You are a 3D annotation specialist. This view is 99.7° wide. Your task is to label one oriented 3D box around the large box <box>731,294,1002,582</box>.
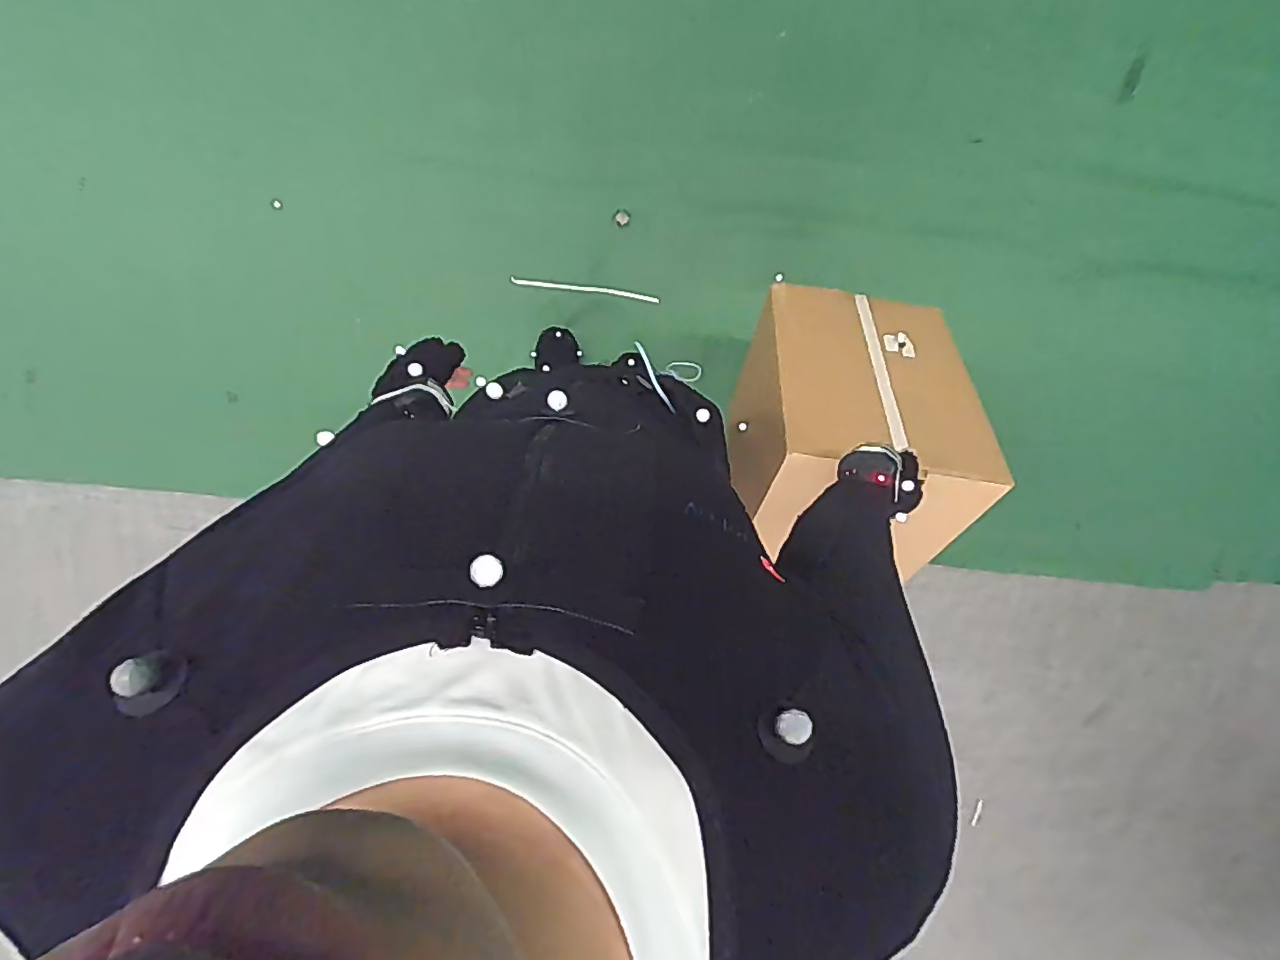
[{"bbox_3d":[0.351,-0.073,0.978,0.320,0.408,0.320,9,141,-2],"label":"large box"}]
